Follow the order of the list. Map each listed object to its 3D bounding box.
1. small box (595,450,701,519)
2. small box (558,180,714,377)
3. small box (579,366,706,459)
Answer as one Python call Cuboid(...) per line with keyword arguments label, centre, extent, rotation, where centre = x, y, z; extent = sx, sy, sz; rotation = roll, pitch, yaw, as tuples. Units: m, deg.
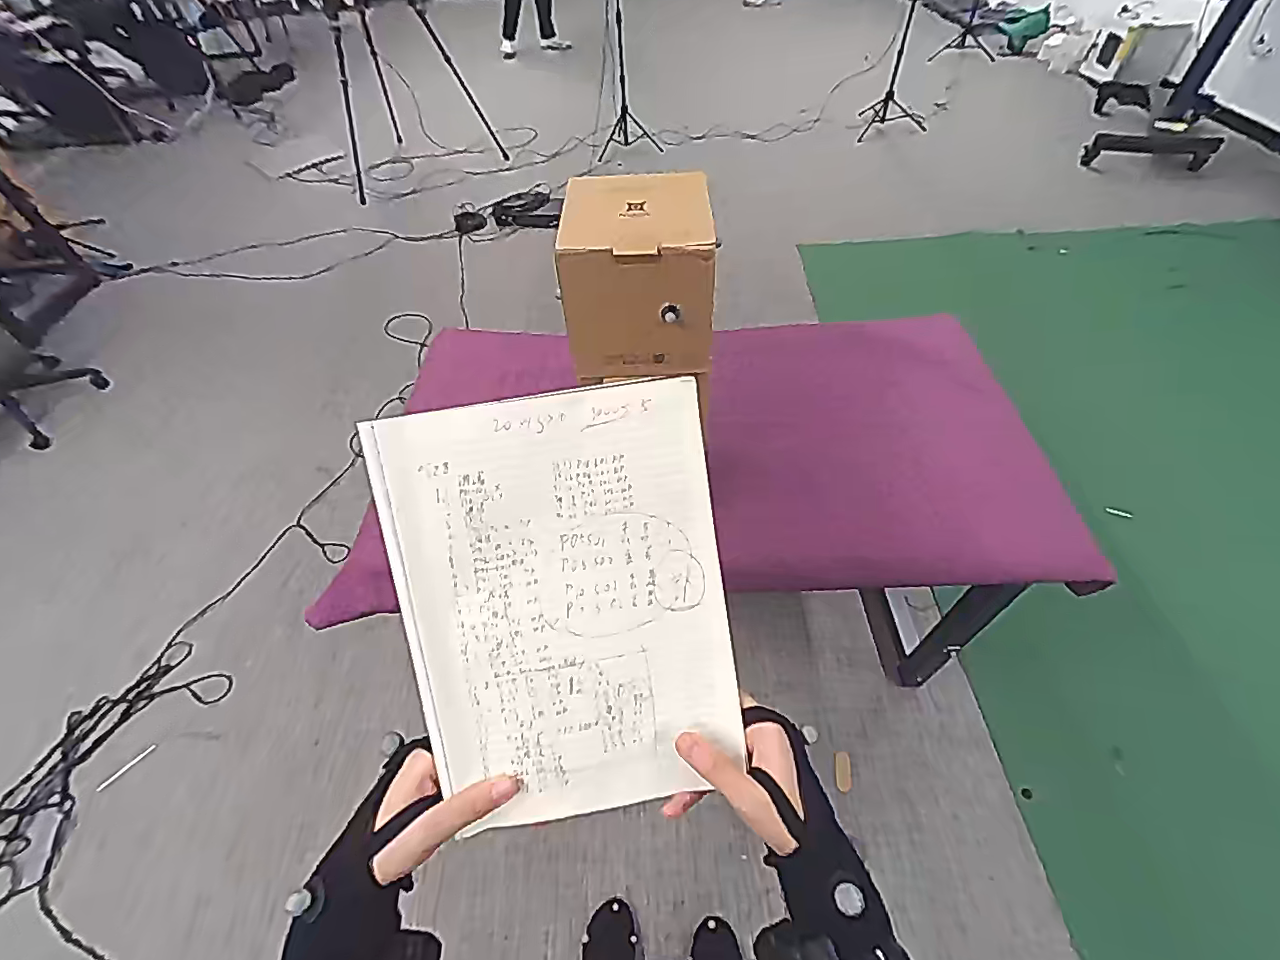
Cuboid(label="small box", centre=(0.018, -0.043, 0.926), extent=(0.168, 0.176, 0.179), rotation=(-1, 52, 2))
Cuboid(label="small box", centre=(0.002, -0.241, 0.664), extent=(0.168, 0.176, 0.179), rotation=(-1, 50, 2))
Cuboid(label="small box", centre=(0.010, -0.142, 0.794), extent=(0.168, 0.176, 0.179), rotation=(-2, 50, 2))
